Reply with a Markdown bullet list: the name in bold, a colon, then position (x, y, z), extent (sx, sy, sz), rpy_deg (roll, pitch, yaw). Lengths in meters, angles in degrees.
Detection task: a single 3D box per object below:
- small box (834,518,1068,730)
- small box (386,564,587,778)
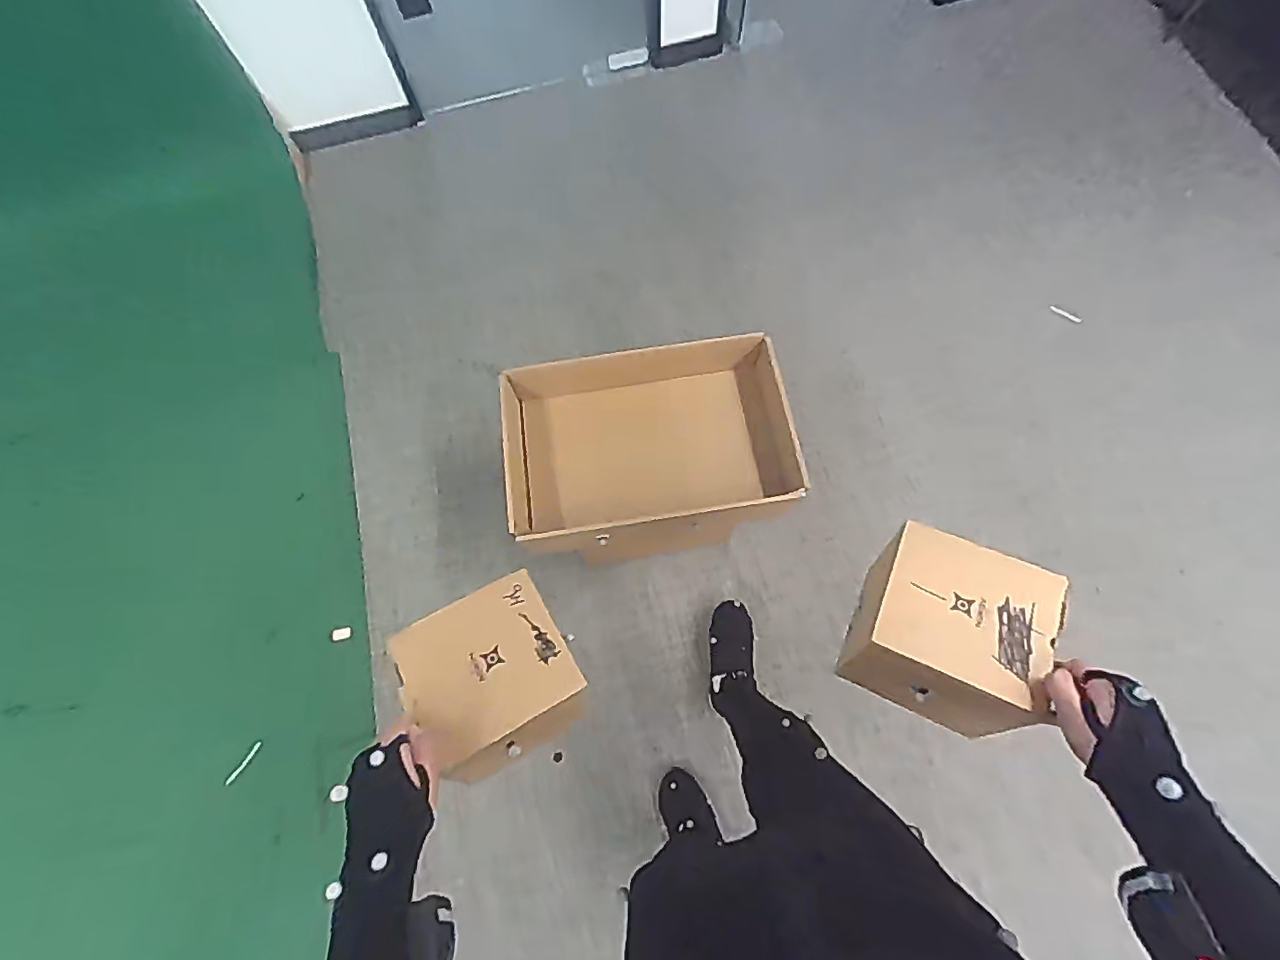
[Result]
- **small box**: position (0.358, 0.179, 0.647), extent (0.179, 0.176, 0.168), rpy_deg (22, 62, 17)
- **small box**: position (-0.176, 0.238, 0.663), extent (0.179, 0.176, 0.168), rpy_deg (-24, 62, -18)
